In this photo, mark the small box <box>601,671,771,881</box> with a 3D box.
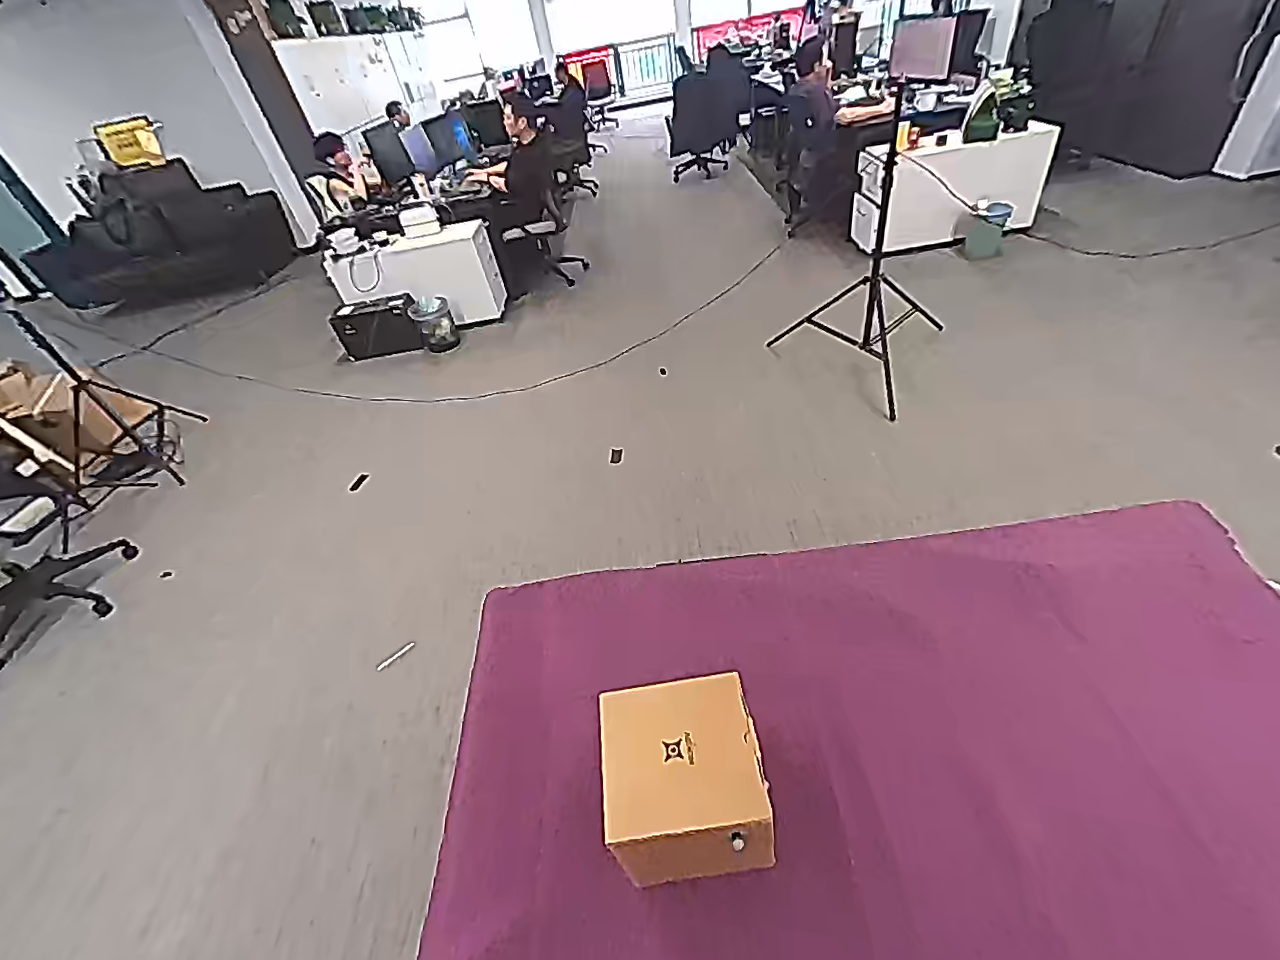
[{"bbox_3d":[0.056,0.364,0.663,0.179,0.176,0.168,-10,40,1],"label":"small box"}]
